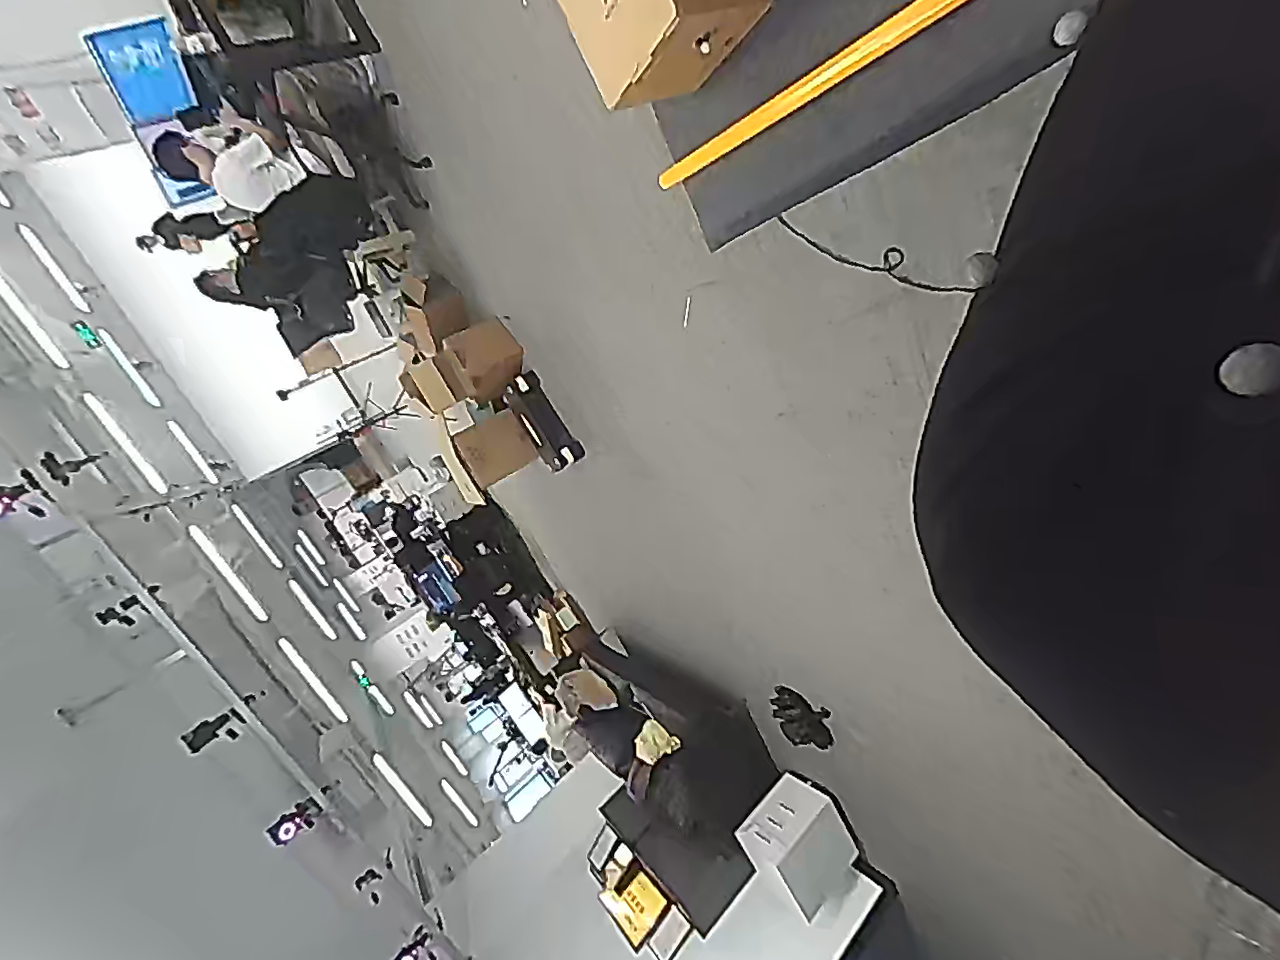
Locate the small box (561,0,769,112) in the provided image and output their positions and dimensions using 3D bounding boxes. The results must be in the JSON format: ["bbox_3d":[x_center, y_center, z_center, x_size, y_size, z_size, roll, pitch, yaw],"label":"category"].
[{"bbox_3d":[0.027,-0.604,0.665,0.168,0.176,0.179,-7,114,60],"label":"small box"}]
